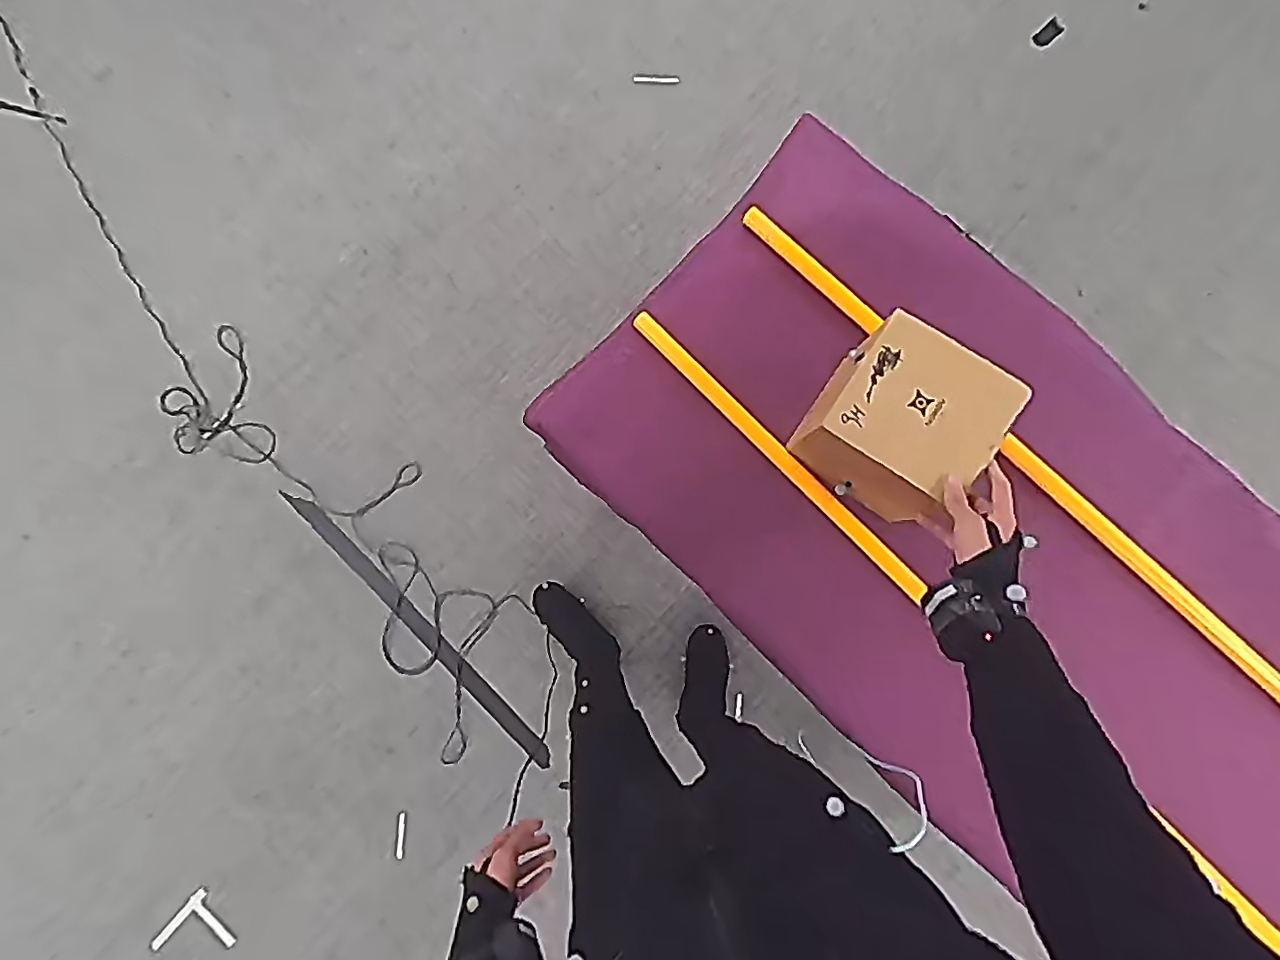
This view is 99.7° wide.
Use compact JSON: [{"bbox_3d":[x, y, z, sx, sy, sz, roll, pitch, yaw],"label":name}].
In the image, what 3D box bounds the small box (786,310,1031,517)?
[{"bbox_3d":[0.311,-0.069,0.666,0.179,0.176,0.168,35,85,4],"label":"small box"}]
